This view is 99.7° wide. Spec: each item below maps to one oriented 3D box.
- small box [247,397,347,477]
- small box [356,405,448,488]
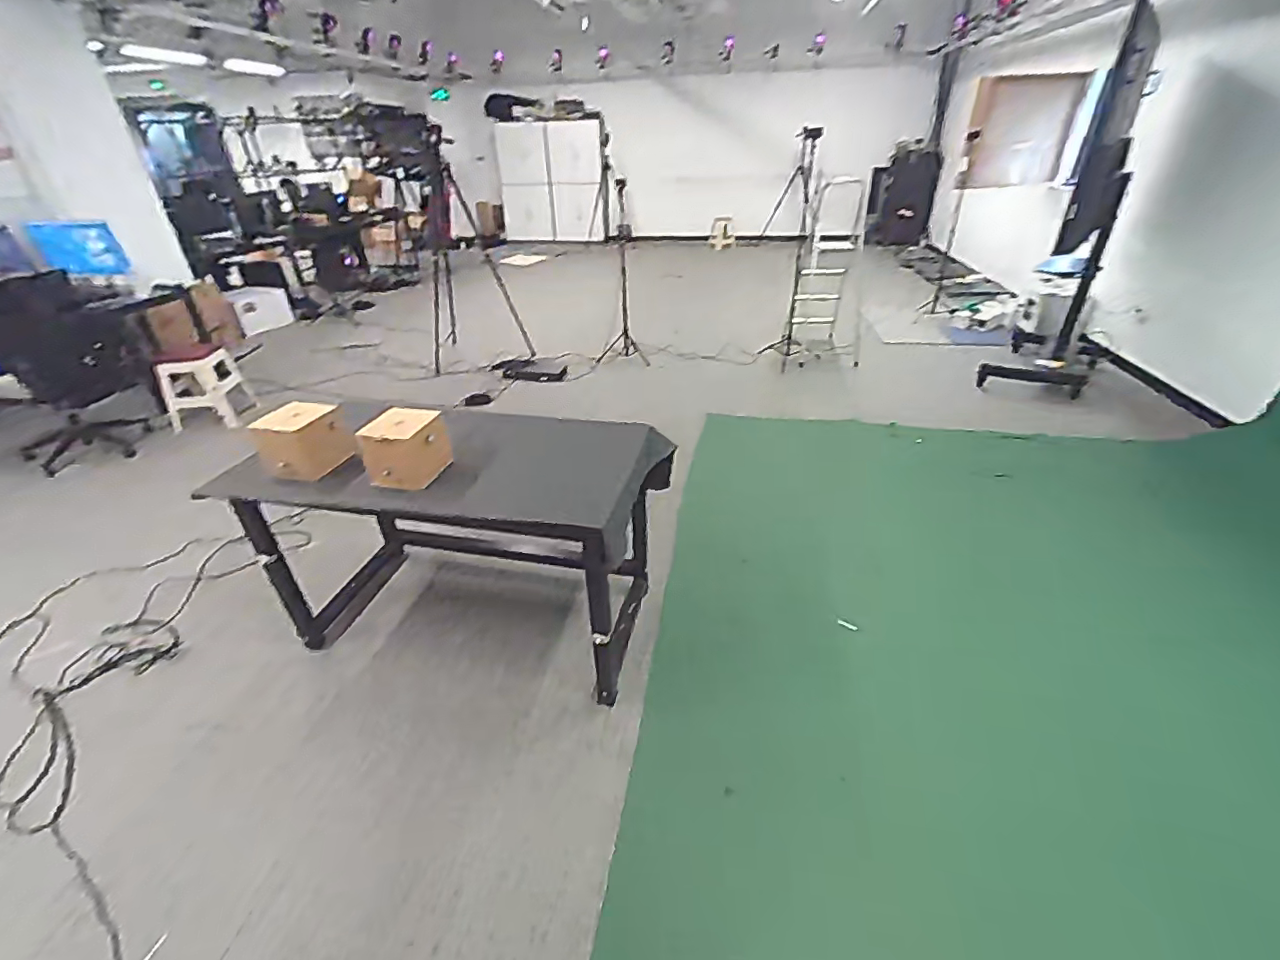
[{"bbox_3d":[-1.000,-0.130,1.599,0.168,0.176,0.179,7,32,12],"label":"small box"},{"bbox_3d":[-0.673,-0.099,1.553,0.168,0.176,0.179,7,33,11],"label":"small box"}]
